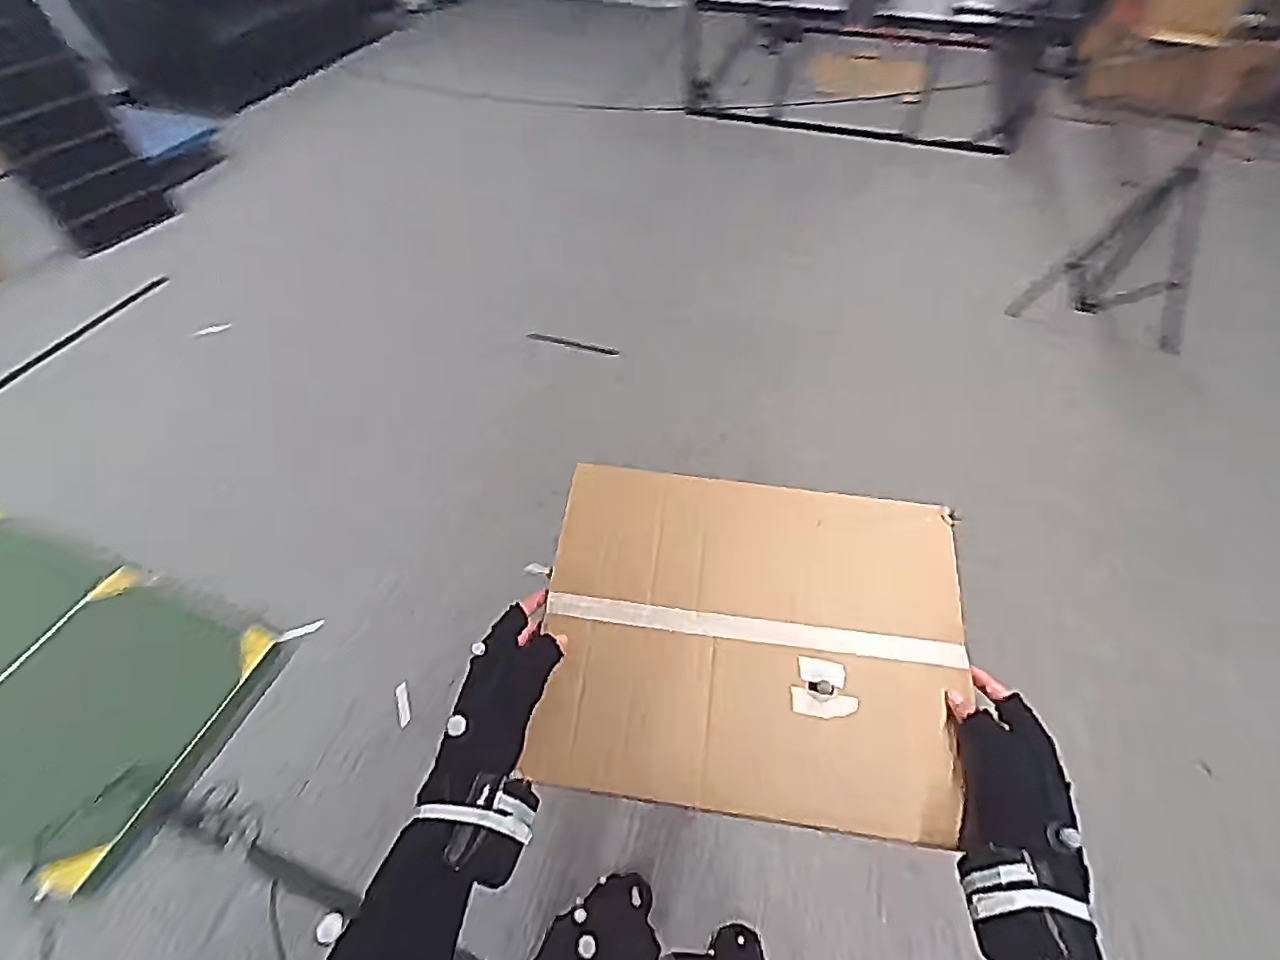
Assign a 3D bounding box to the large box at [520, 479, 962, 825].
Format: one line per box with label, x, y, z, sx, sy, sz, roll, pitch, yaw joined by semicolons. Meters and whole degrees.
large box;0.098;0.214;0.678;0.408;0.320;0.320;5;65;2
